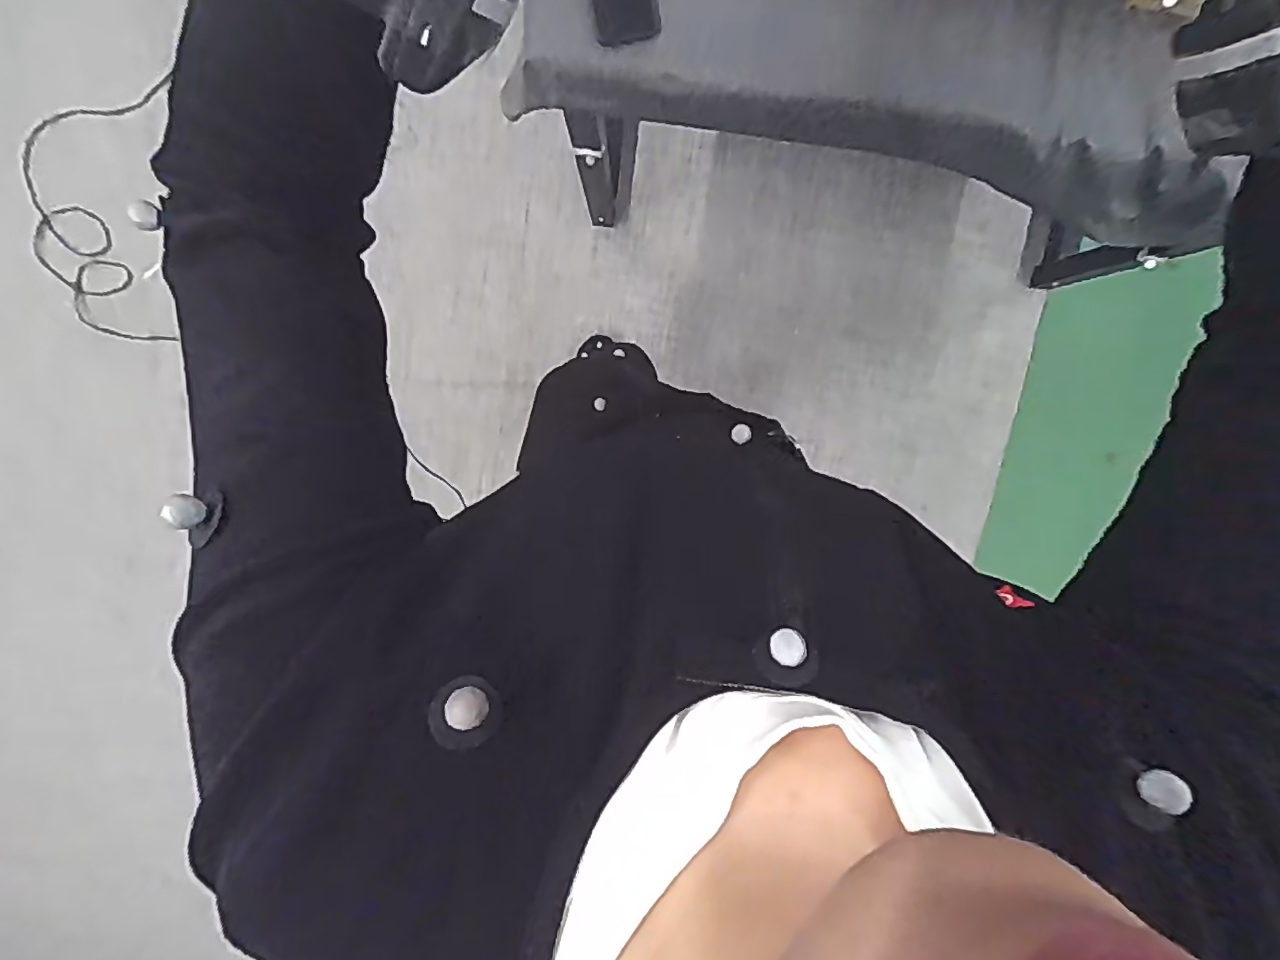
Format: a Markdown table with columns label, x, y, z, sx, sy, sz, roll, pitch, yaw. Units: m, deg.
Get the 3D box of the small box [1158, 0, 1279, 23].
| label | x | y | z | sx | sy | sz | roll | pitch | yaw |
| --- | --- | --- | --- | --- | --- | --- | --- | --- | --- |
| small box | 0.664 | -0.623 | 0.551 | 0.168 | 0.176 | 0.179 | 10 | 98 | -3 |
